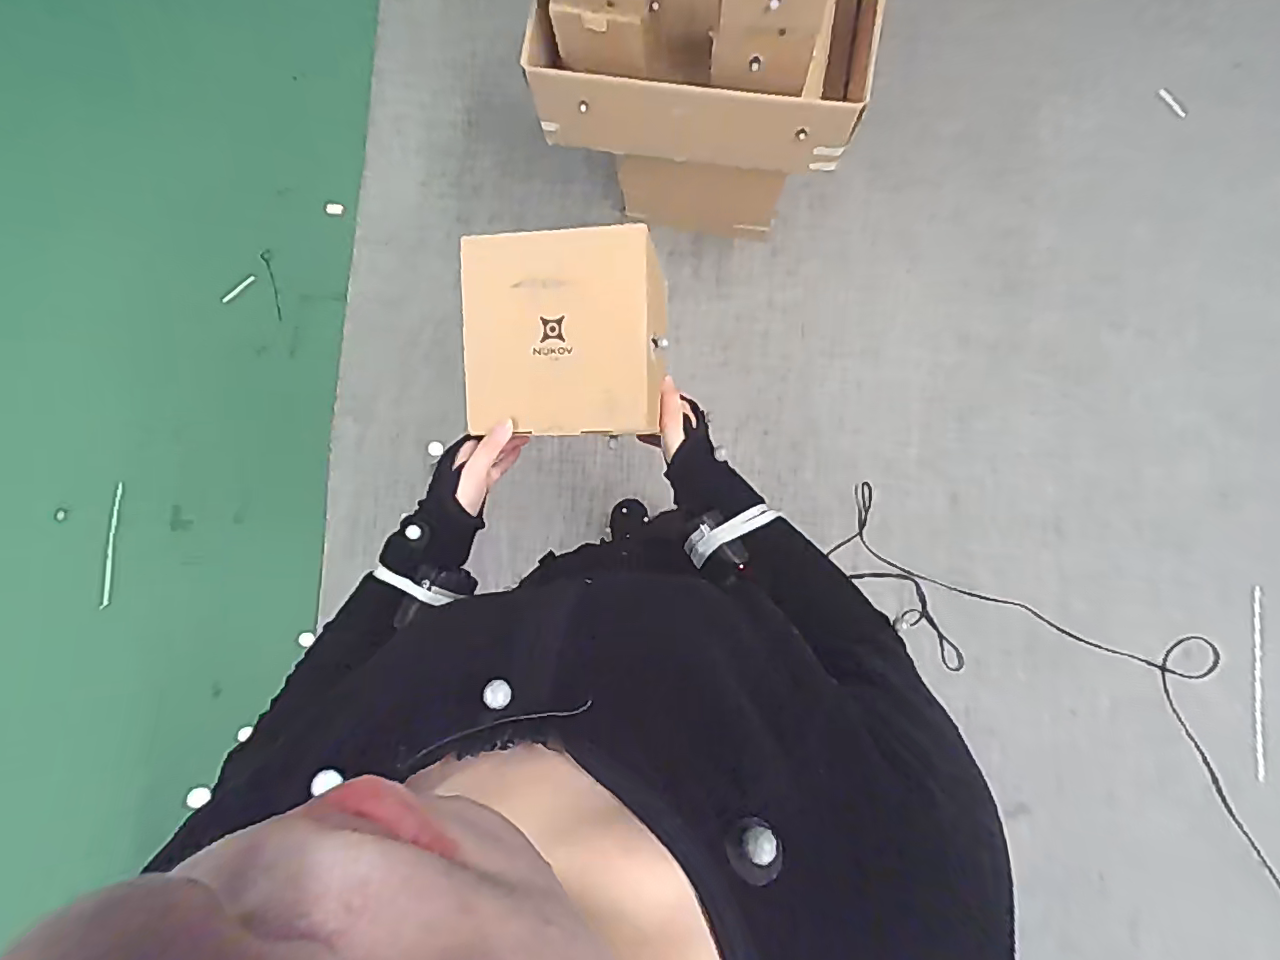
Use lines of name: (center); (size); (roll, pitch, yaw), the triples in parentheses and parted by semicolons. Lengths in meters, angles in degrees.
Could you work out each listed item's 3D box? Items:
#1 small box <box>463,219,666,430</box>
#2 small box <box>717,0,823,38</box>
small box: (-0.063, -0.141, 0.547); (0.168, 0.176, 0.179); (1, 95, 8)
small box: (0.211, -0.825, 0.825); (0.168, 0.176, 0.179); (6, 88, 4)
